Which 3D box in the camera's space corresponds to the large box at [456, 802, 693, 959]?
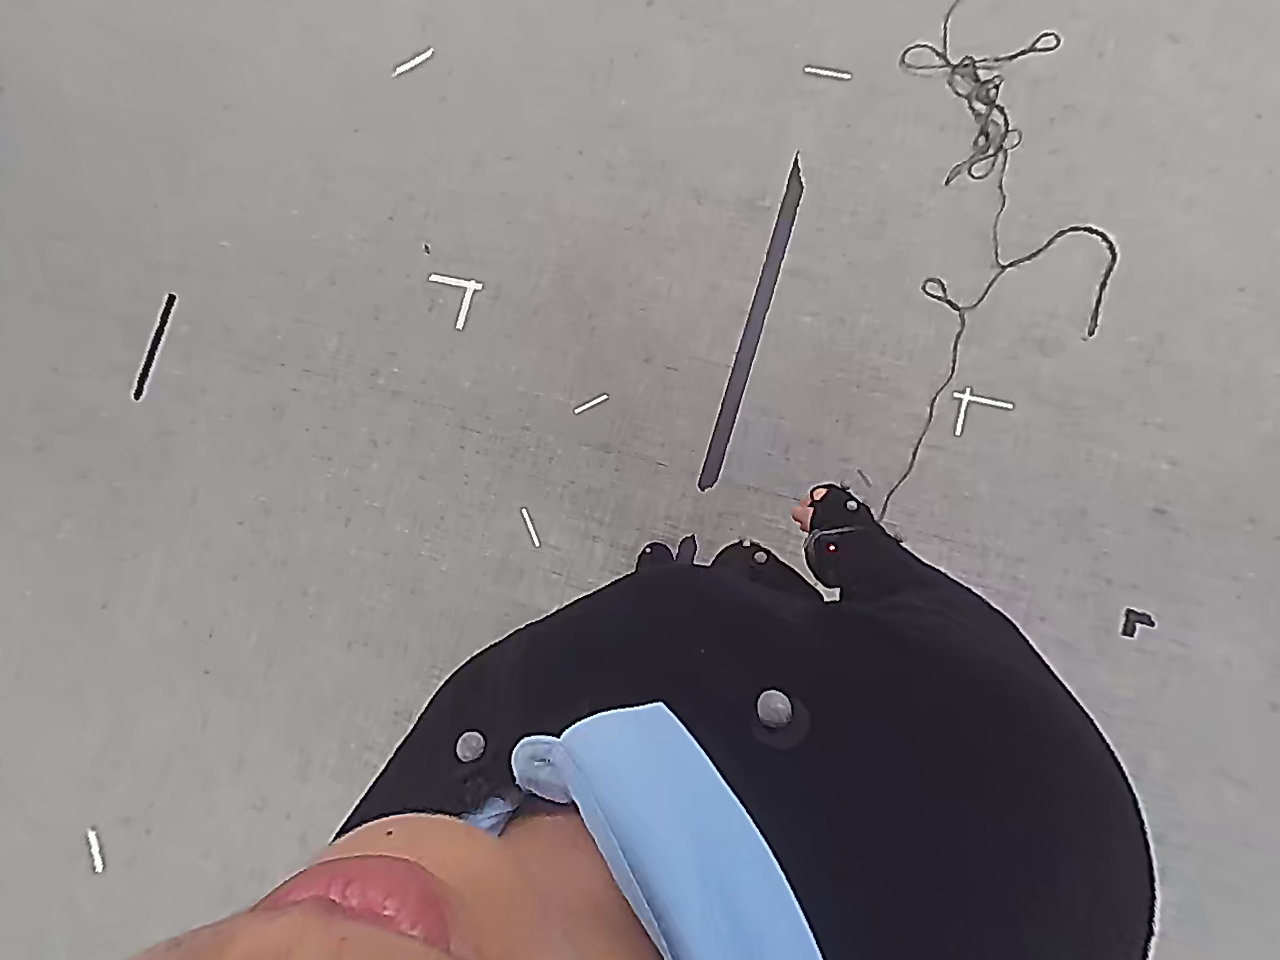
[{"bbox_3d":[-0.126,0.945,1.102,0.408,0.320,0.320,18,84,9],"label":"large box"}]
